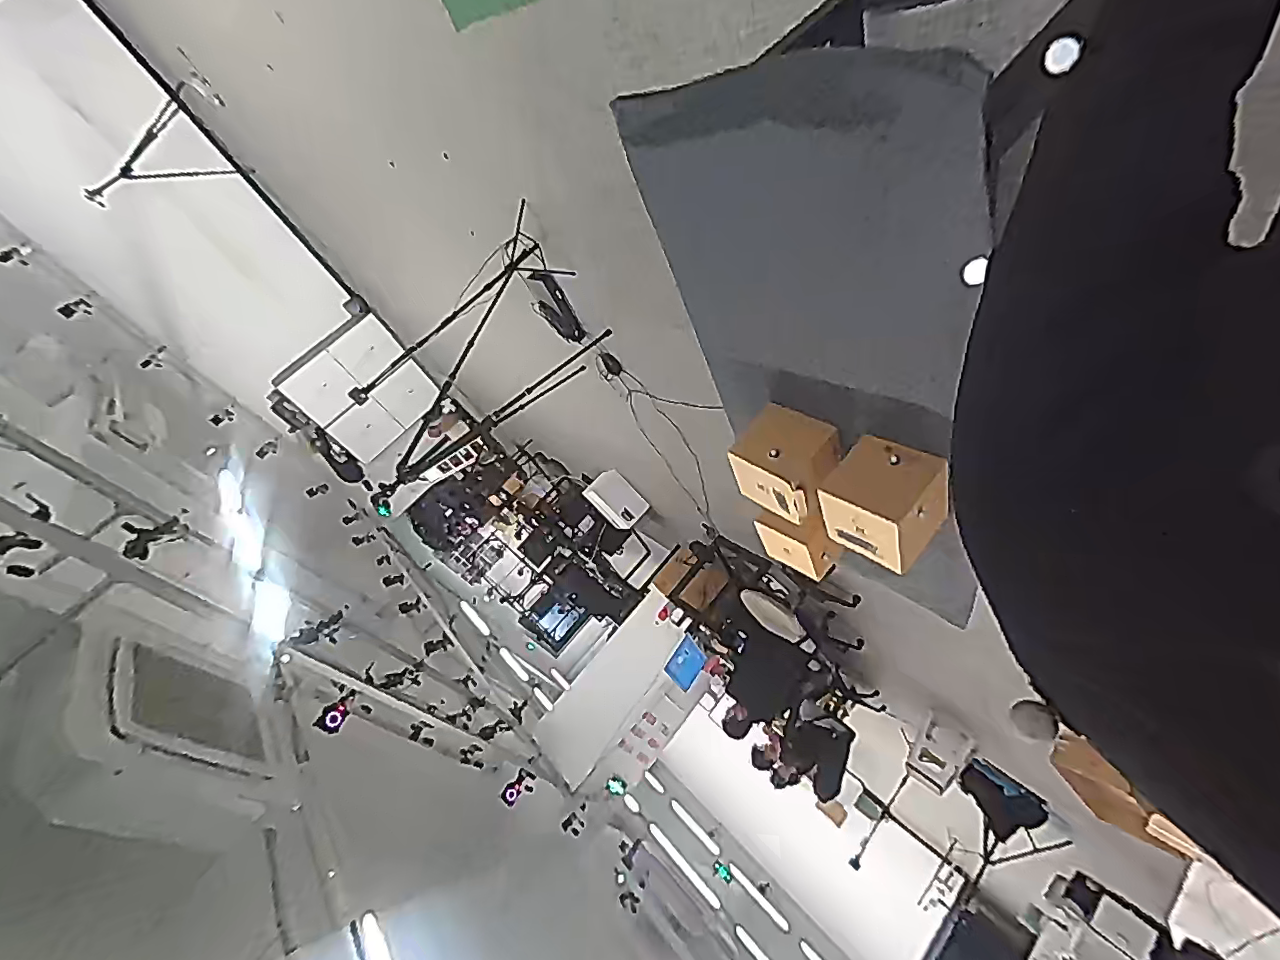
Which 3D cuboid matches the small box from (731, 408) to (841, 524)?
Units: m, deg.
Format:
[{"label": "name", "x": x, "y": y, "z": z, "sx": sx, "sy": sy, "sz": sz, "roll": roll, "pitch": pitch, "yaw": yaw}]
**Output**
[{"label": "small box", "x": 0.339, "y": -0.038, "z": 1.227, "sx": 0.179, "sy": 0.176, "sz": 0.168, "roll": 31, "pitch": 161, "yaw": 39}]
